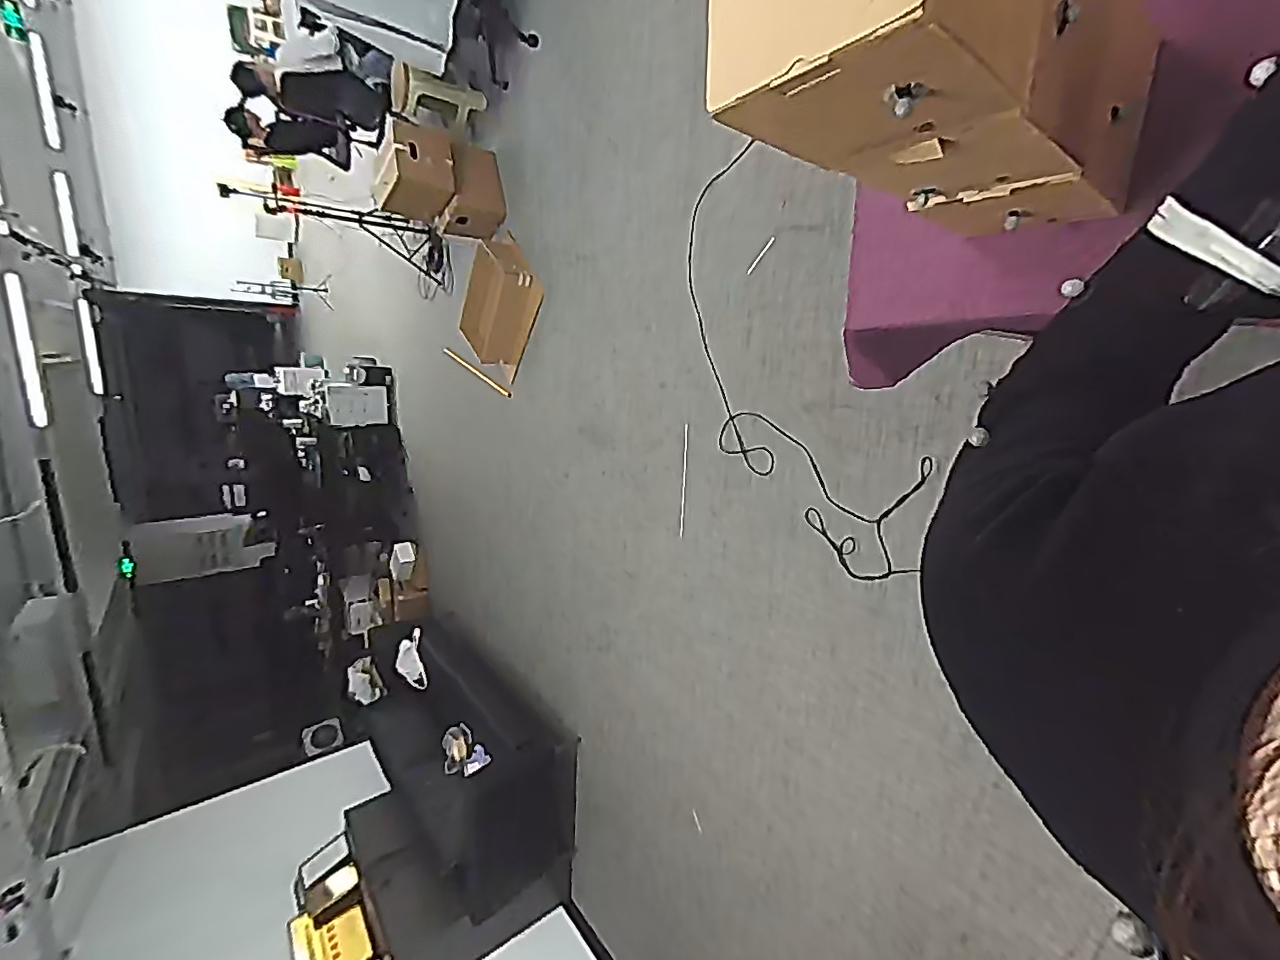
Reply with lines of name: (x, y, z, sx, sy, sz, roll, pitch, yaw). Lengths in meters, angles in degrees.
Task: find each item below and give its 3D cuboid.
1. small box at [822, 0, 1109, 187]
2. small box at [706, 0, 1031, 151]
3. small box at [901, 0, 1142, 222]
small box: (0.293, -0.384, 0.490, 0.168, 0.176, 0.179, 19, 110, 48)
small box: (0.167, -0.362, 0.389, 0.168, 0.176, 0.179, 15, 108, 48)
small box: (0.418, -0.396, 0.597, 0.168, 0.176, 0.179, 17, 110, 47)
